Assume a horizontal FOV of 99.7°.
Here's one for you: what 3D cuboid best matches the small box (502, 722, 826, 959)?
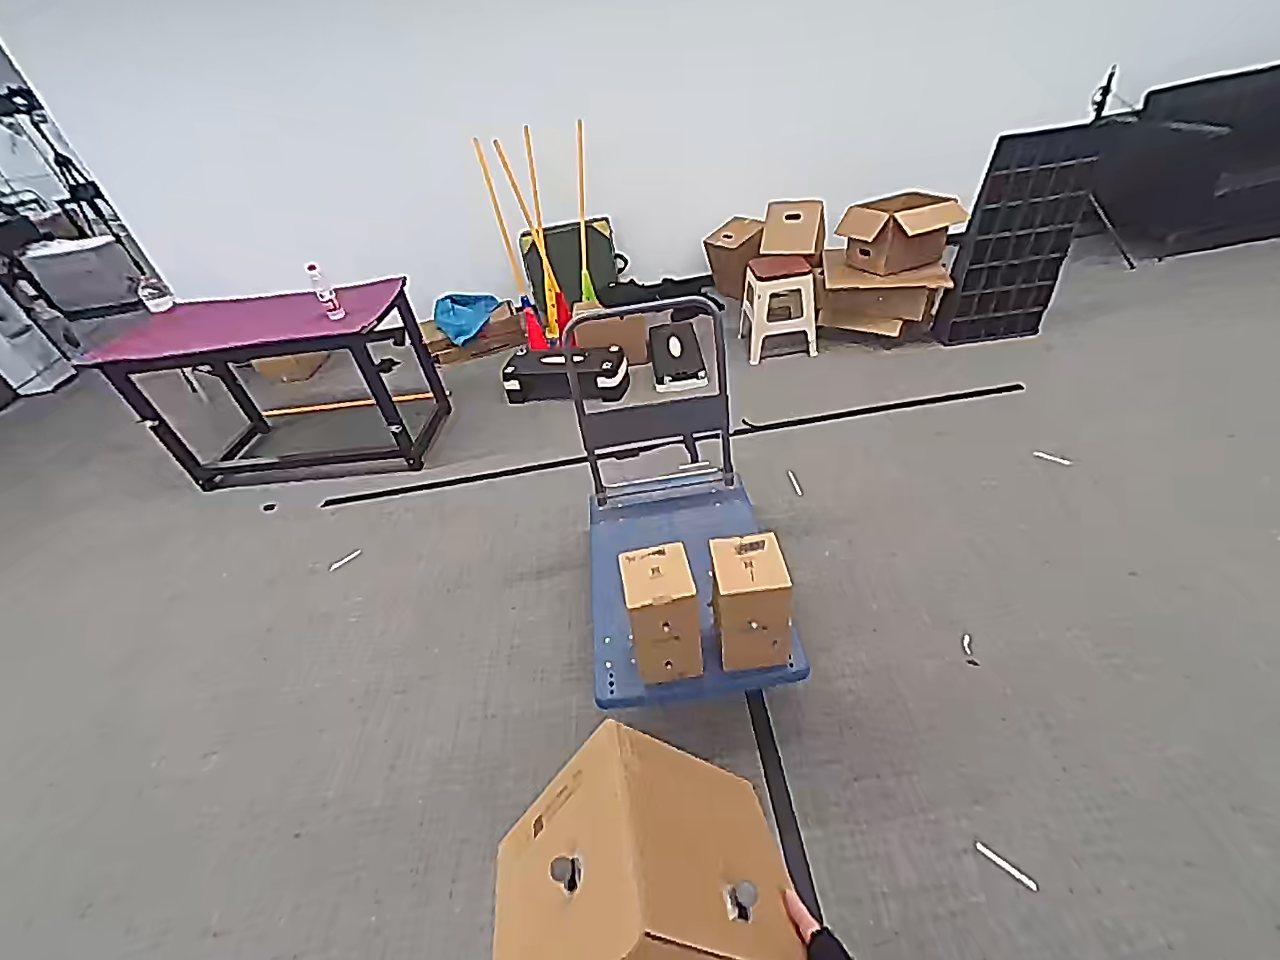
[{"bbox_3d":[0.002,0.329,0.431,0.168,0.179,0.176,-52,22,10],"label":"small box"}]

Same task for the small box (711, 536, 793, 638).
[{"bbox_3d":[0.268,0.263,1.333,0.168,0.176,0.179,-7,39,2],"label":"small box"}]

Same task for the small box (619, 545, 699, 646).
[{"bbox_3d":[0.049,0.292,1.340,0.168,0.176,0.179,-10,39,-2],"label":"small box"}]

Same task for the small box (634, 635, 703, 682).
[{"bbox_3d":[0.070,0.419,1.444,0.168,0.176,0.179,-9,38,-1],"label":"small box"}]
